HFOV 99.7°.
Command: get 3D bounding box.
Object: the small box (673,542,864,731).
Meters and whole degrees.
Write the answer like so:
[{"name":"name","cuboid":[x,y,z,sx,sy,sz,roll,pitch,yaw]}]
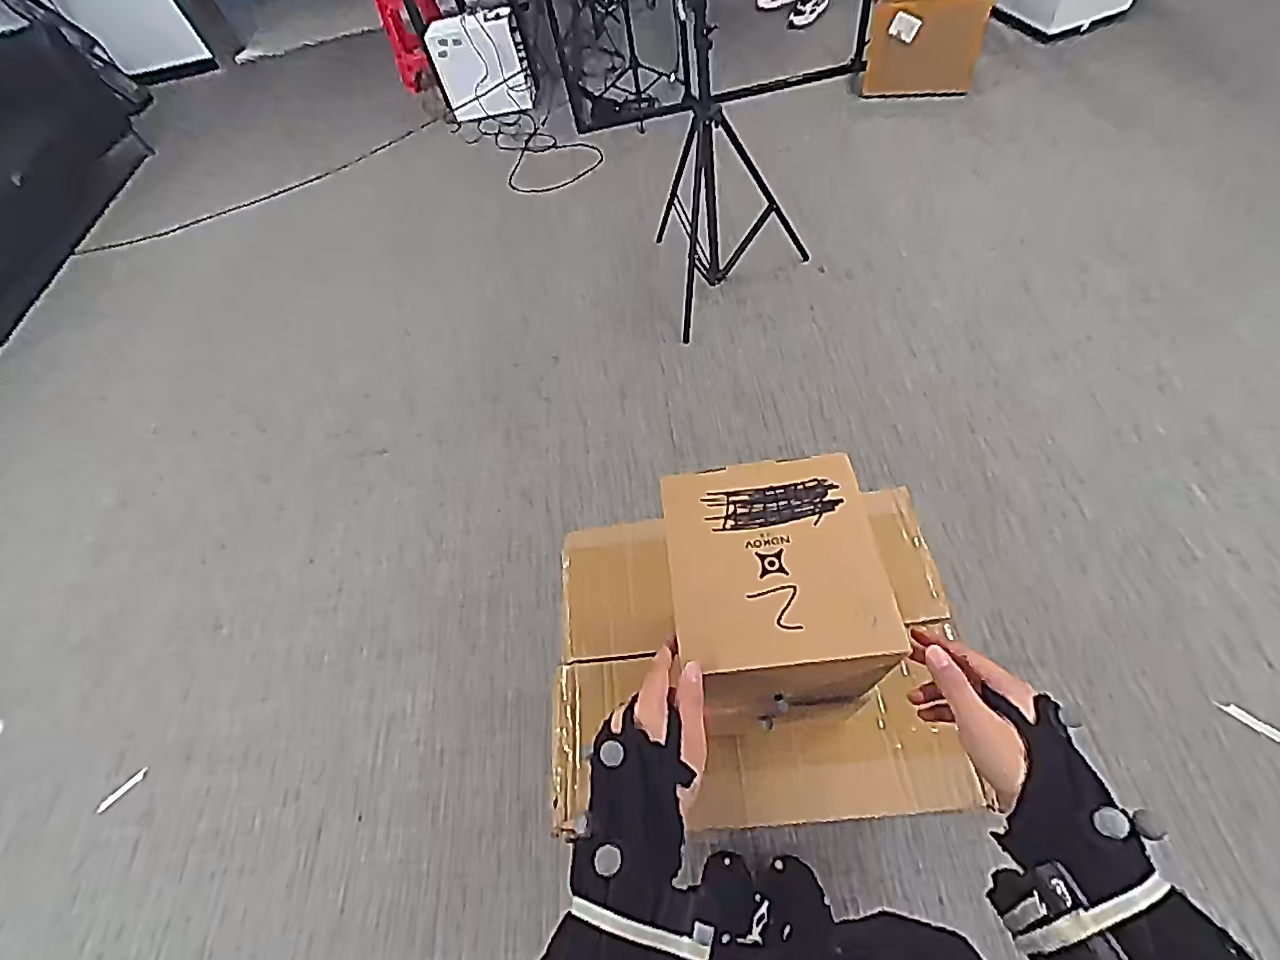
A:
[{"name":"small box","cuboid":[0.141,0.191,0.635,0.179,0.176,0.168,-8,58,6]}]
